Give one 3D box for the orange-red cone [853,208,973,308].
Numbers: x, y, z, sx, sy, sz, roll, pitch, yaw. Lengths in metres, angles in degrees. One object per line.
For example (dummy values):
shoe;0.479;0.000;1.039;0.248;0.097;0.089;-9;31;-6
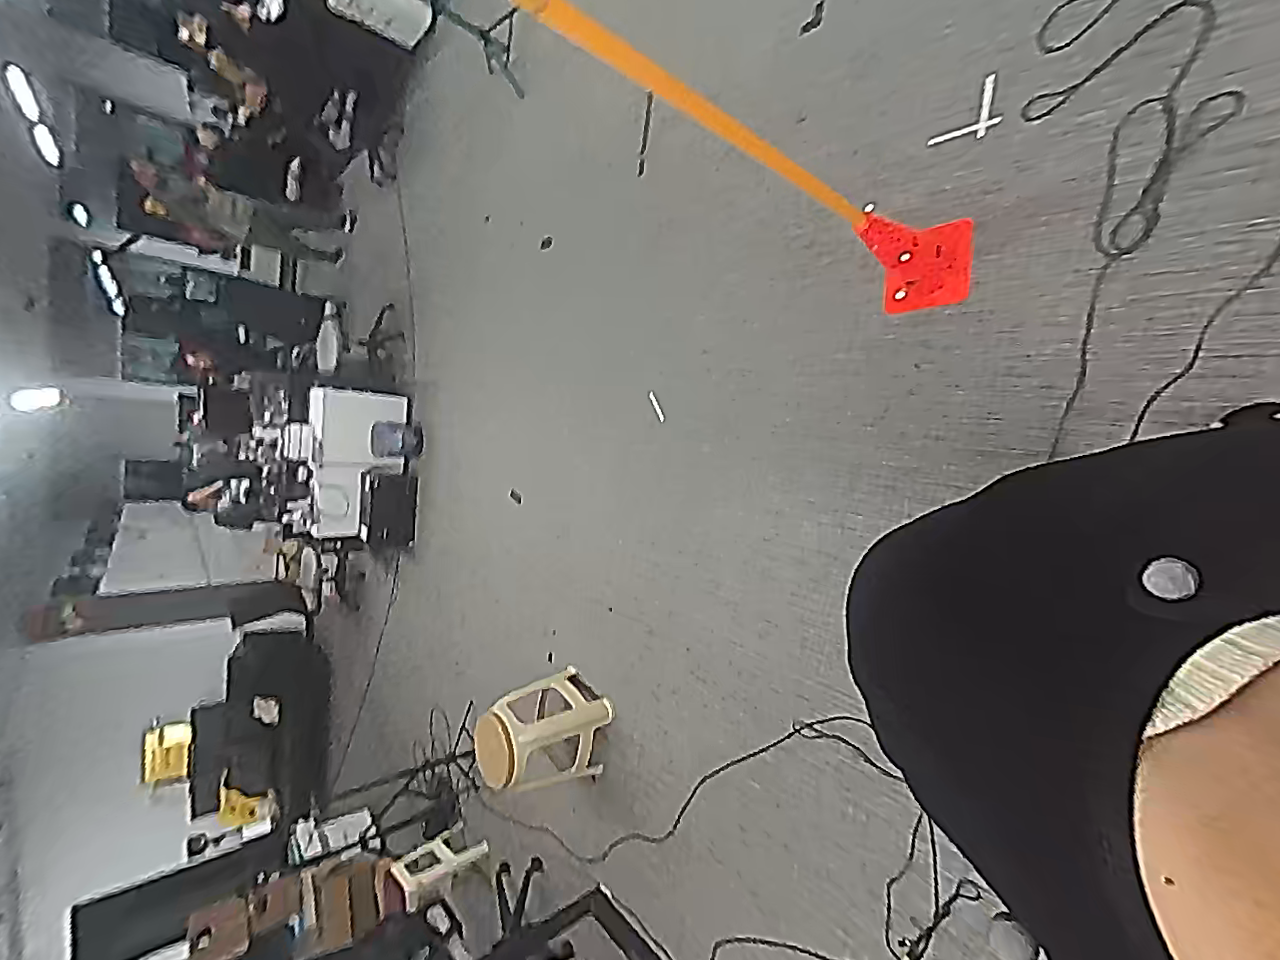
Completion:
orange-red cone;0.585;-0.537;1.222;0.199;0.360;0.198;6;94;47
